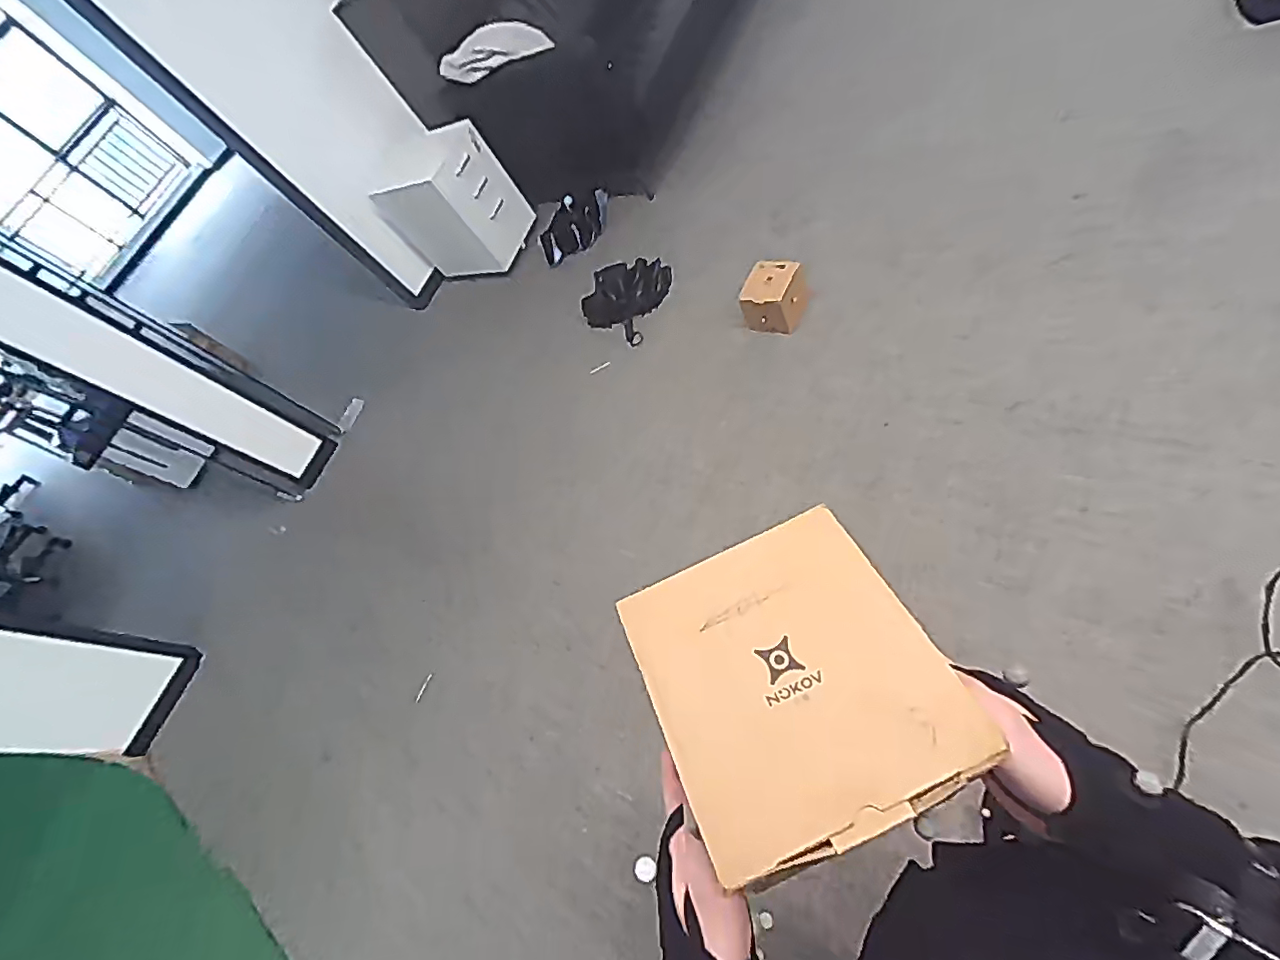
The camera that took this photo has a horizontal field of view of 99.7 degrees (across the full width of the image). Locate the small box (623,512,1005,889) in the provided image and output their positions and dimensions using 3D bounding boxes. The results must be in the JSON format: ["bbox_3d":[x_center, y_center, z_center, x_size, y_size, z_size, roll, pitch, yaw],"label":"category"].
[{"bbox_3d":[0.109,0.161,0.391,0.168,0.176,0.179,-24,50,-2],"label":"small box"}]
